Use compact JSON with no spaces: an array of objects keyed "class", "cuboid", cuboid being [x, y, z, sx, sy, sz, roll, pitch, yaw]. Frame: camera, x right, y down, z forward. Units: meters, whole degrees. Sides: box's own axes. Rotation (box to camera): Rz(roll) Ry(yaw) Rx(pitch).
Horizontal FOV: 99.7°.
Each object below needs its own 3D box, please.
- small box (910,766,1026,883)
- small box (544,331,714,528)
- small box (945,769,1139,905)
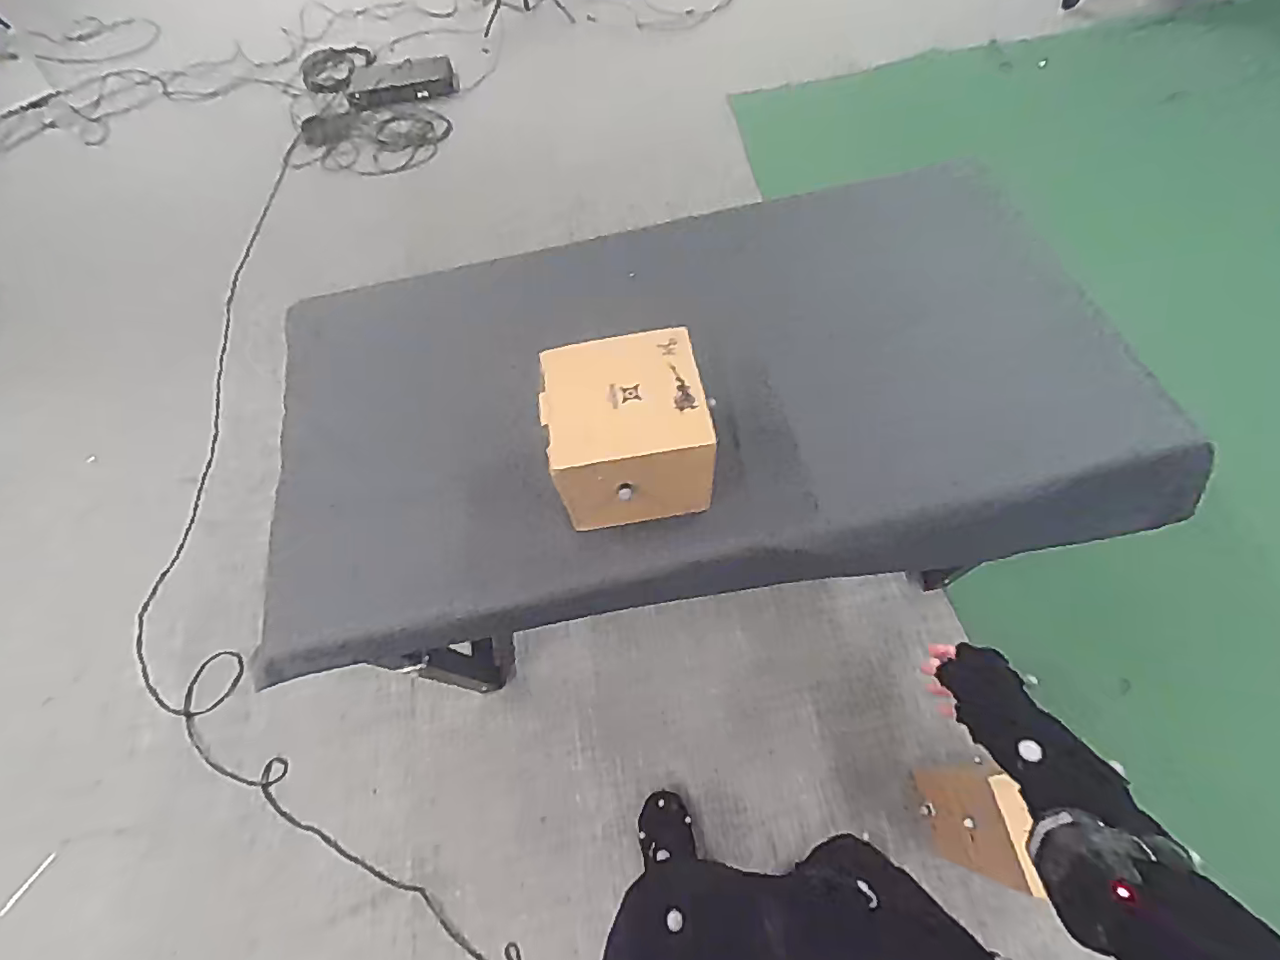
[{"class":"small box","cuboid":[0.672,0.669,1.066,0.179,0.176,0.168,-10,62,1]},{"class":"small box","cuboid":[-0.010,-0.053,0.667,0.179,0.176,0.168,-9,62,0]},{"class":"small box","cuboid":[0.664,0.594,0.919,0.179,0.176,0.168,-8,62,2]}]
